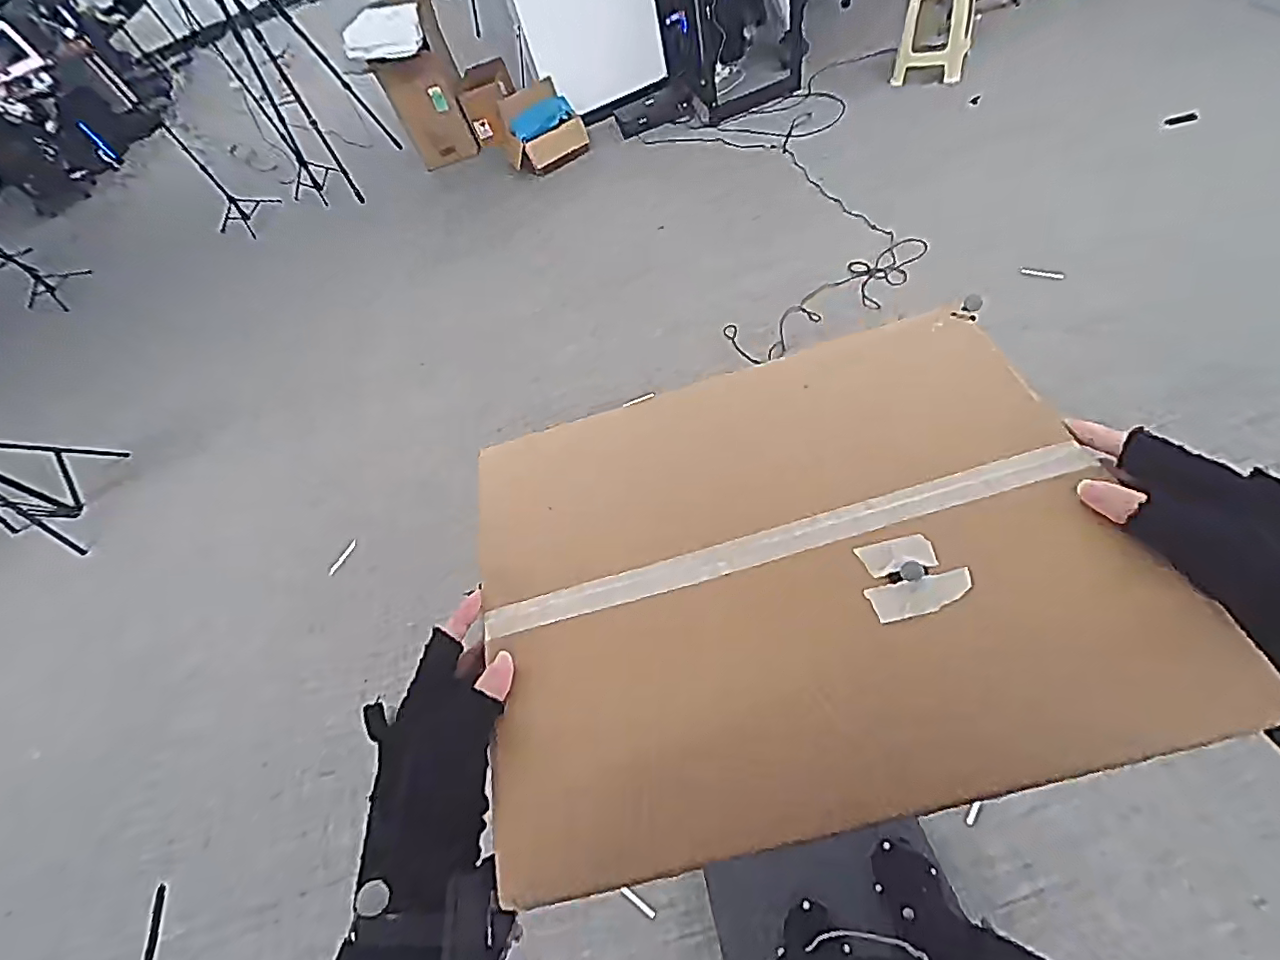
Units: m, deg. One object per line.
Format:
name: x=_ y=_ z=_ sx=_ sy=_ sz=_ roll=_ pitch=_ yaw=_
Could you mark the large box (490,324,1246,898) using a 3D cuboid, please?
large box: x=0.121 y=0.128 z=0.491 sx=0.408 sy=0.320 sz=0.320 roll=-17 pitch=56 yaw=3
